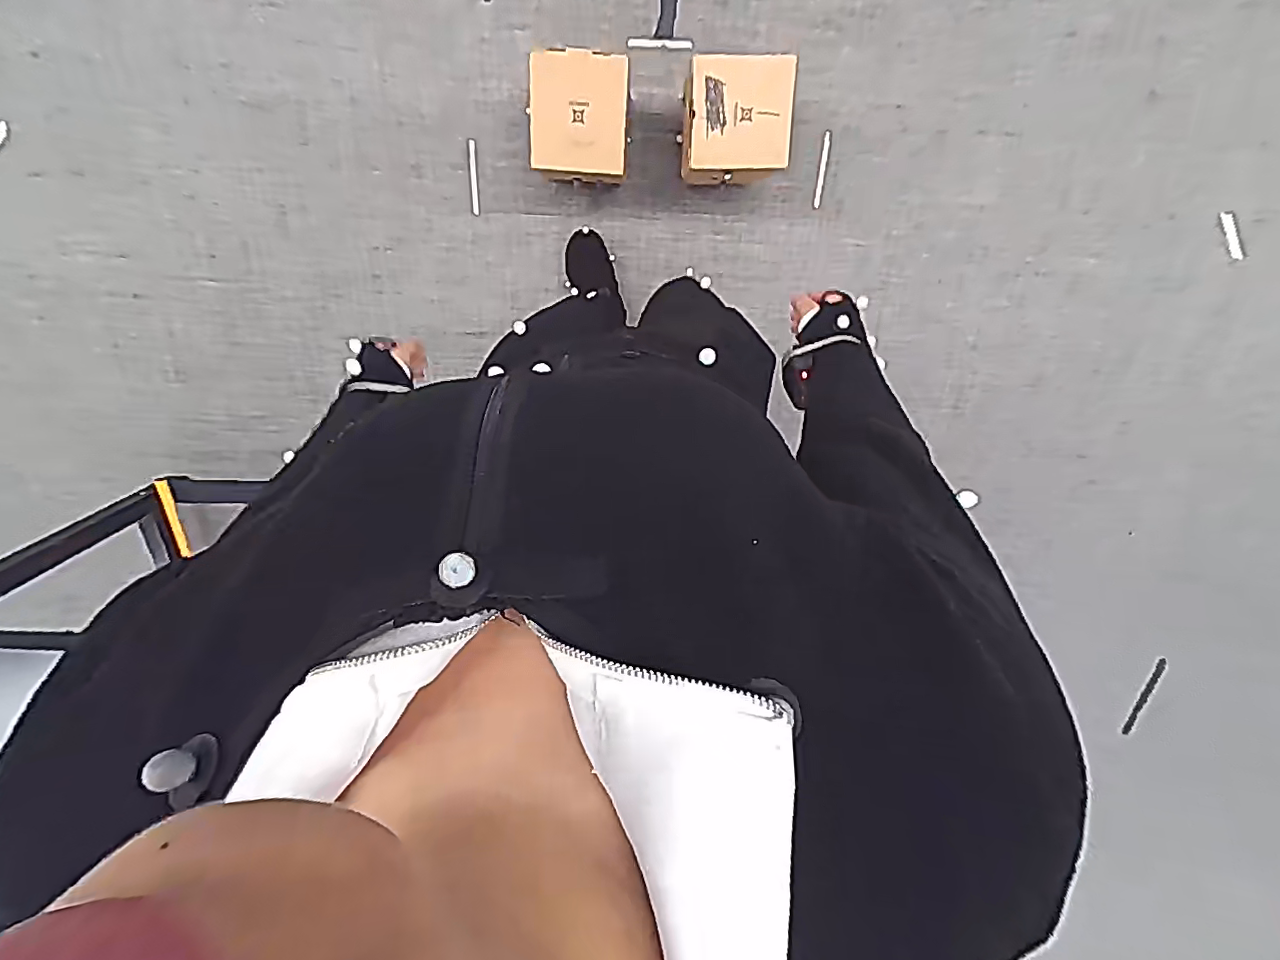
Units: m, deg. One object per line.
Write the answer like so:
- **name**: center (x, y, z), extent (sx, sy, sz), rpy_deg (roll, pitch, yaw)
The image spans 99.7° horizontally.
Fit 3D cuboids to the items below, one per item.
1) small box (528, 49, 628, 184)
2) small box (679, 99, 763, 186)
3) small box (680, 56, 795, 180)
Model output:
- **small box**: center (-0.109, -0.652, 0.988), extent (0.168, 0.176, 0.179), rpy_deg (4, 116, -1)
- **small box**: center (0.172, -0.723, 1.140), extent (0.168, 0.176, 0.179), rpy_deg (0, 115, -1)
- **small box**: center (0.167, -0.652, 0.990), extent (0.179, 0.176, 0.168), rpy_deg (0, 114, -1)
